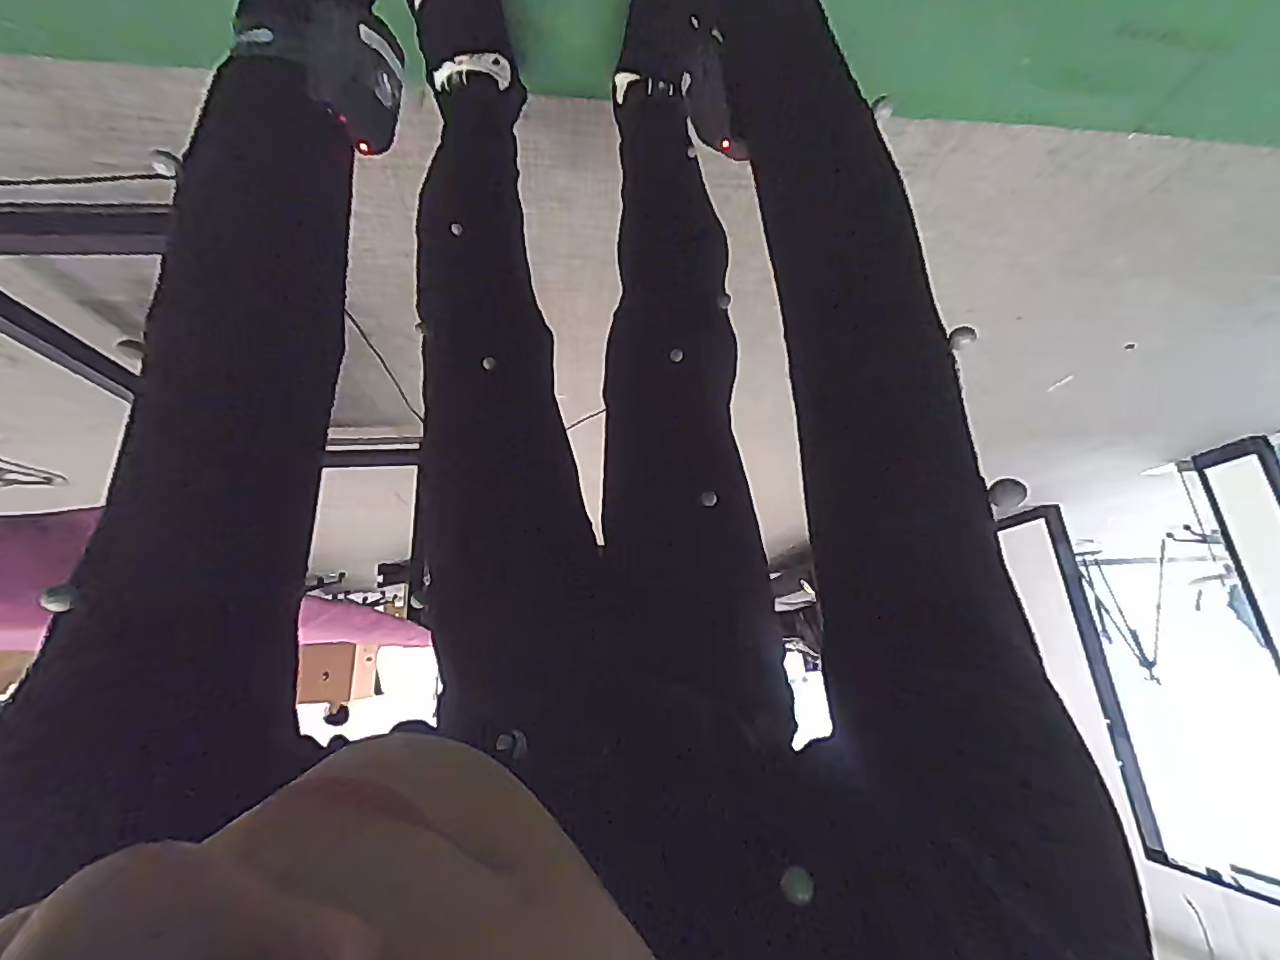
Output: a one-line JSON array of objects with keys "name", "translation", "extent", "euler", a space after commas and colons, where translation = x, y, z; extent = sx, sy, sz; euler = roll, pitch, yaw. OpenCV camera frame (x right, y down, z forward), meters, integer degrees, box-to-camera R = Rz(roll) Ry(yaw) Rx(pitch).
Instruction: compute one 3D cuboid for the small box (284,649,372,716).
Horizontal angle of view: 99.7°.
[{"name": "small box", "translation": [-0.933, 0.609, 1.633], "extent": [0.179, 0.176, 0.168], "euler": [-3, 162, -5]}]
